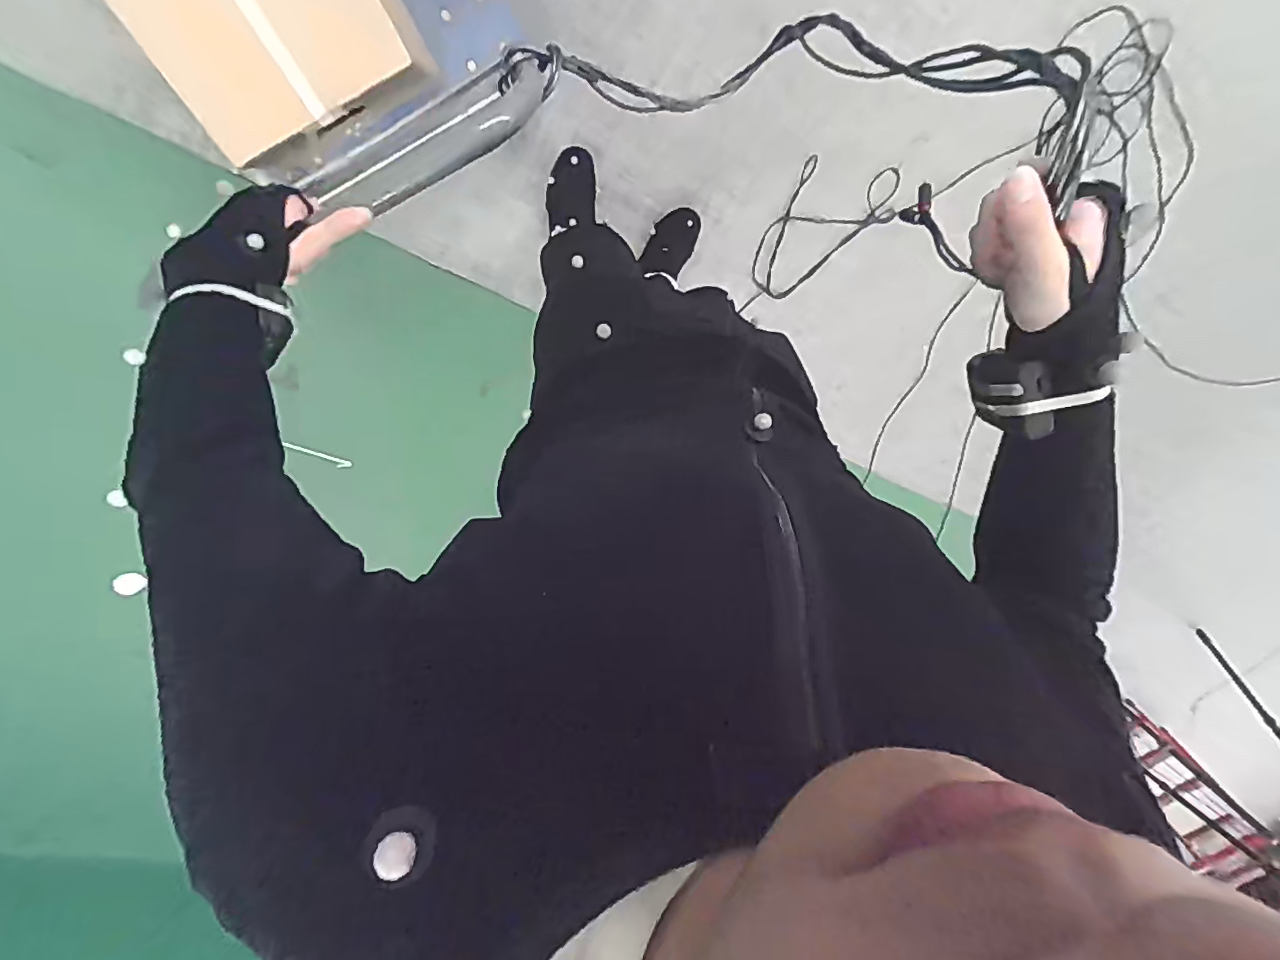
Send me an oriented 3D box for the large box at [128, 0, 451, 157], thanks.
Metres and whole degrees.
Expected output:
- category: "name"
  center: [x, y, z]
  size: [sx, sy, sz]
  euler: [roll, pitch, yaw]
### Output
- category: "large box"
  center: [-0.548, -0.767, 0.806]
  size: [0.320, 0.320, 0.408]
  euler: [-25, 123, 6]
